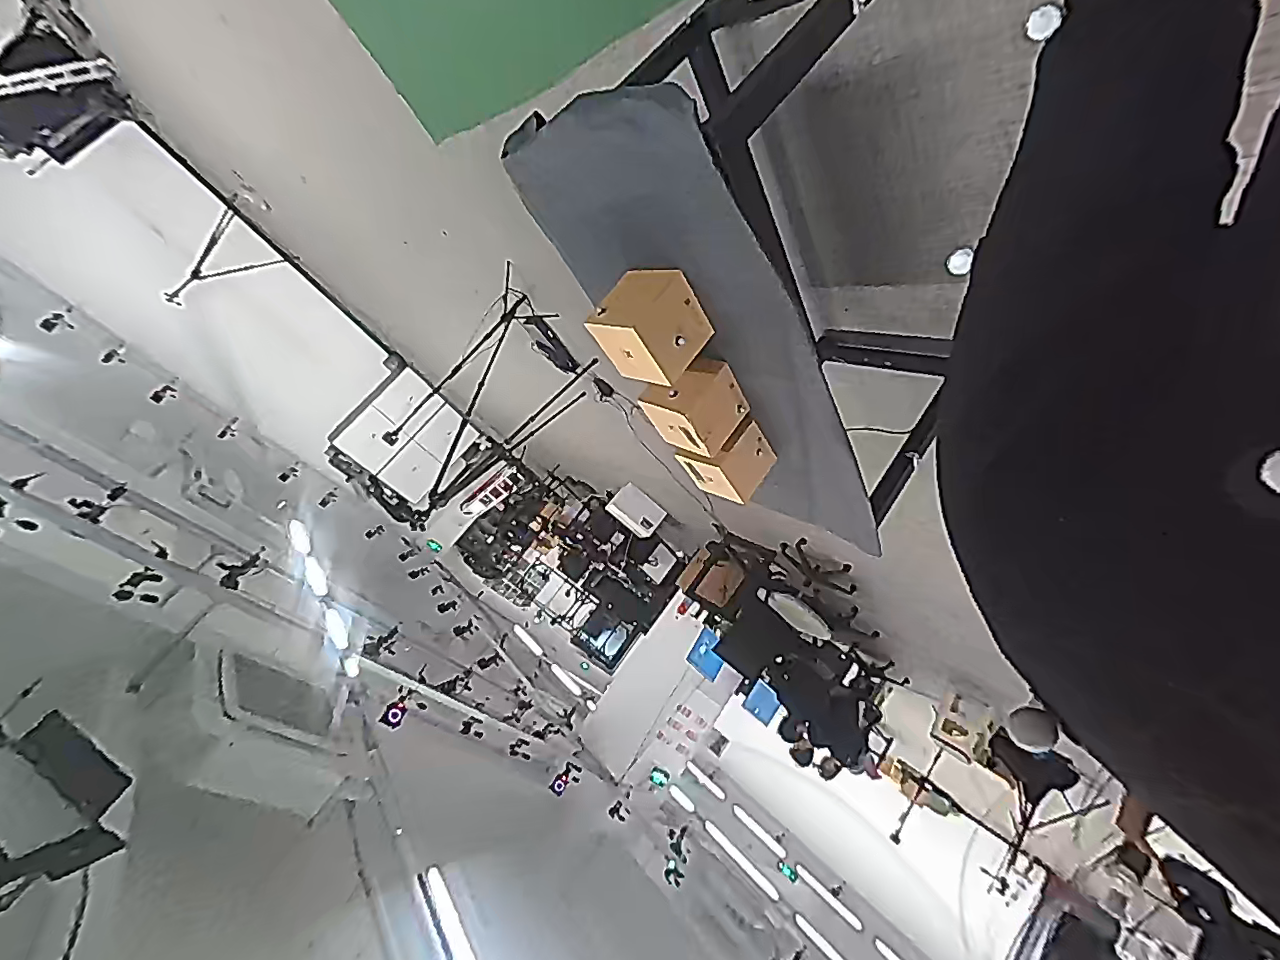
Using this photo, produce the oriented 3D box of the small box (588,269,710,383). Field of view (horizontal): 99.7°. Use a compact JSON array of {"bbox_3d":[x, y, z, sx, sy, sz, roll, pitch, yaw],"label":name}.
[{"bbox_3d":[0.029,-0.335,1.164,0.179,0.176,0.168,24,161,47],"label":"small box"}]
